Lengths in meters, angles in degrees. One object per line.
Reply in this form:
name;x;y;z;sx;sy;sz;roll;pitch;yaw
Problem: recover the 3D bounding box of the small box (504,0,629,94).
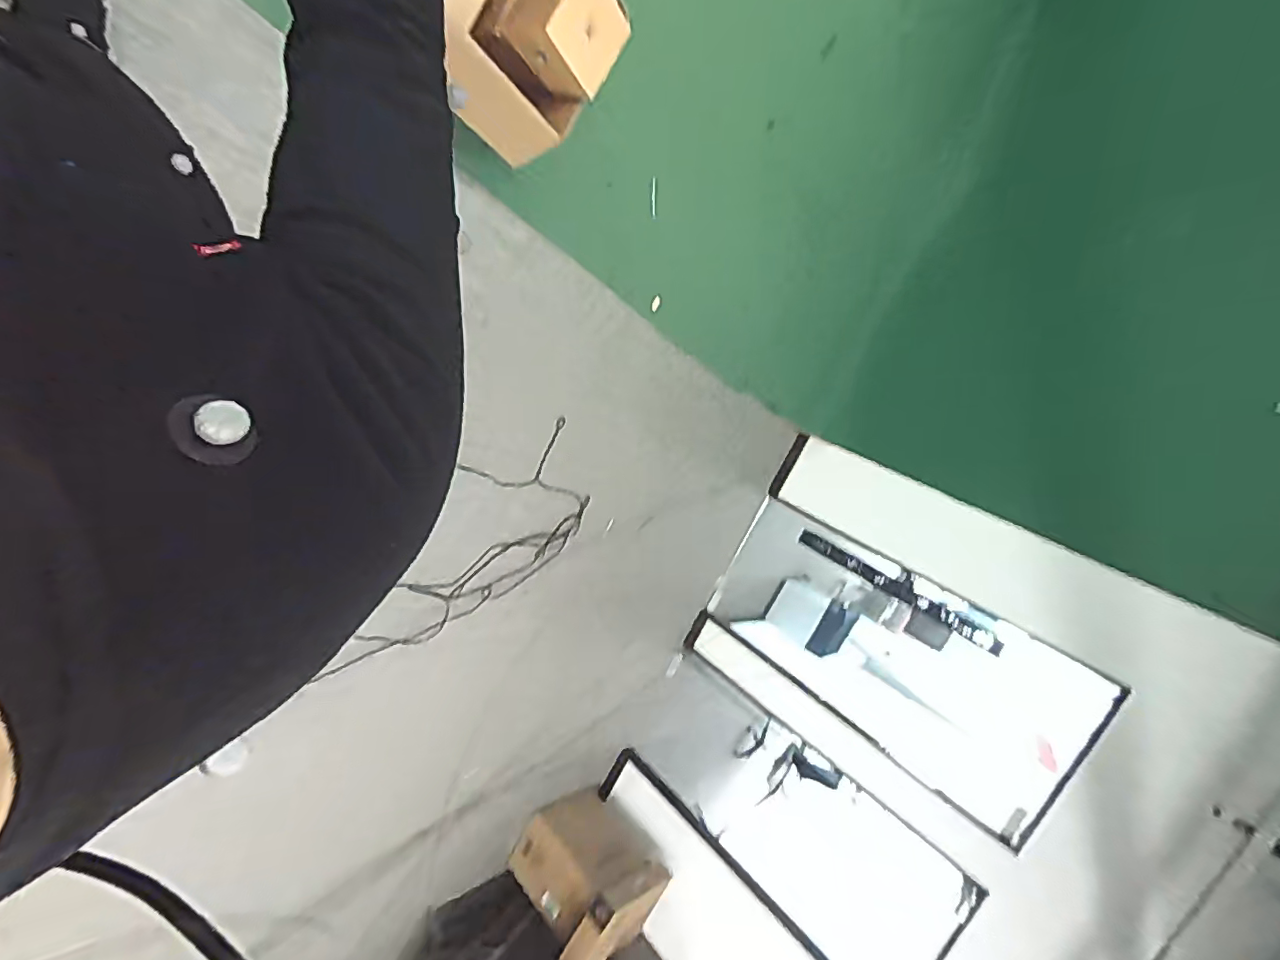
small box;-0.162;-0.970;1.153;0.179;0.176;0.168;-59;147;3
